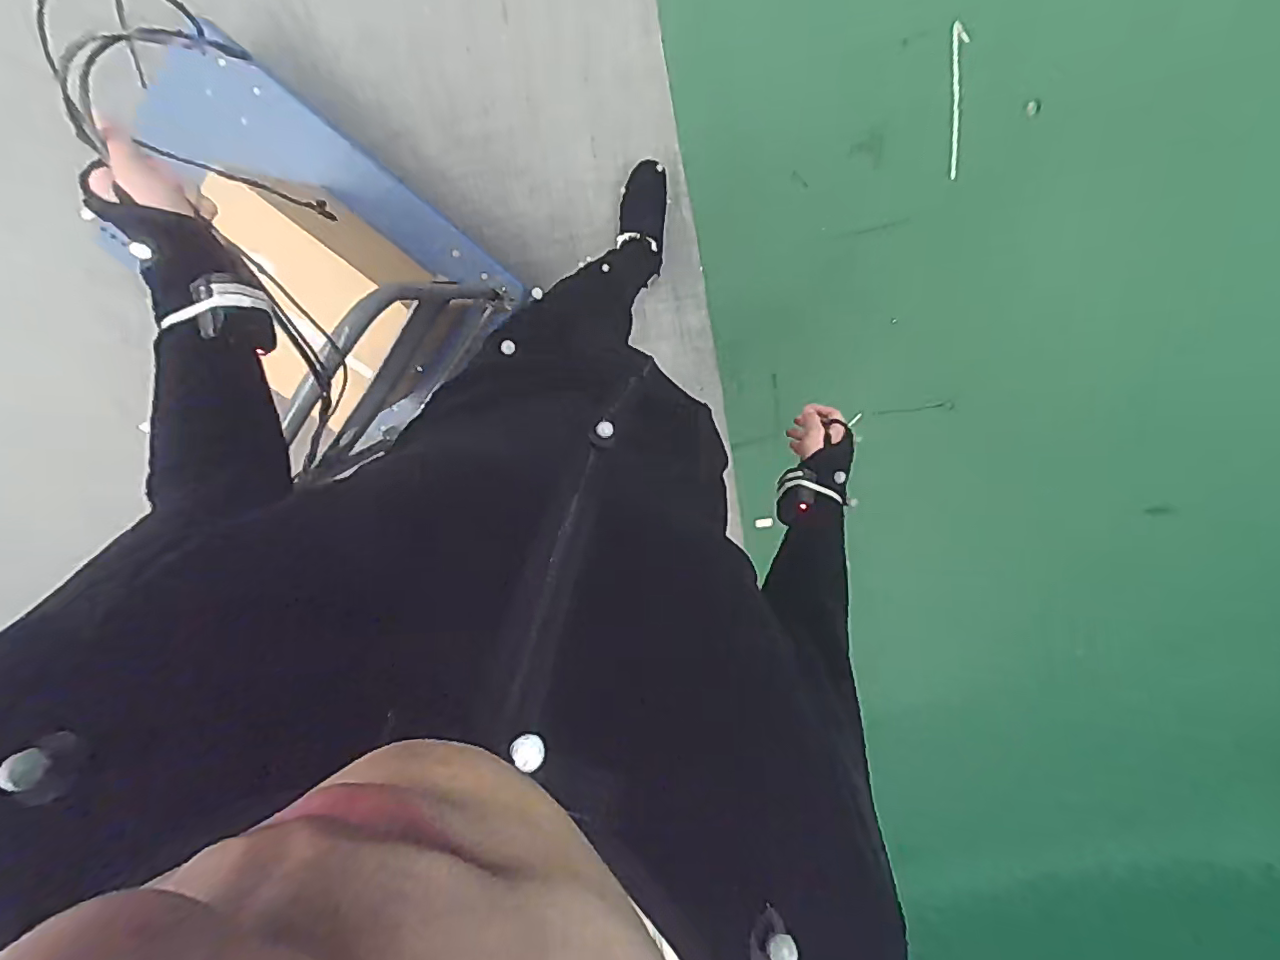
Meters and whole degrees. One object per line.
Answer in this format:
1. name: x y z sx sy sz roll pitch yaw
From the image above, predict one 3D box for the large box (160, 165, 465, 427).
1. large box: -0.665 -0.384 1.164 0.408 0.320 0.320 38 108 -12
